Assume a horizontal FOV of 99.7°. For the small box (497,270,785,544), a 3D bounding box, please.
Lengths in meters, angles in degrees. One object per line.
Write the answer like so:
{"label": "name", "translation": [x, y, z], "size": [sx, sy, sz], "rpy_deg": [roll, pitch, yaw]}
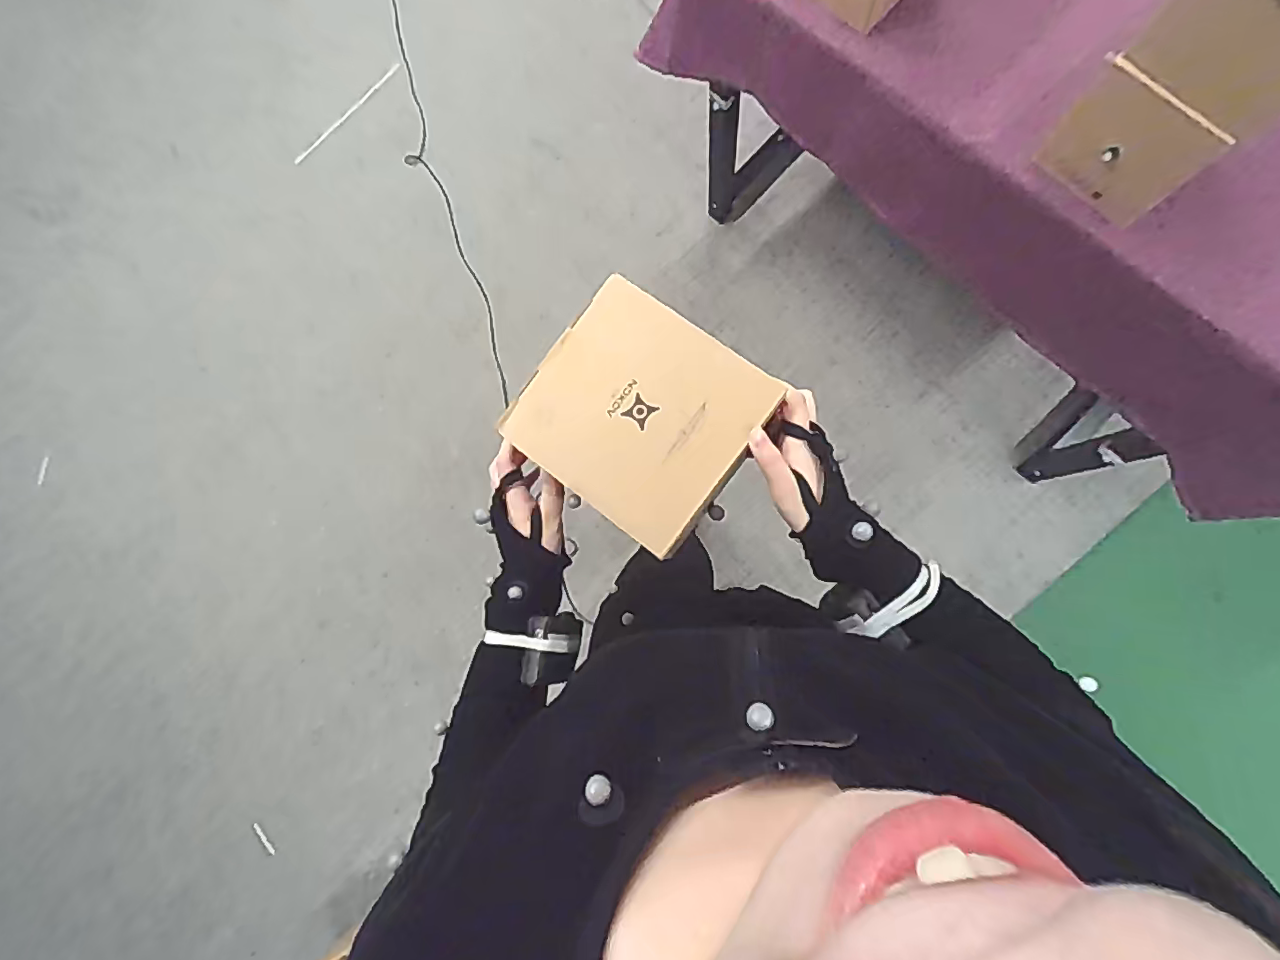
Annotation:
{"label": "small box", "translation": [0.005, -0.051, 0.509], "size": [0.179, 0.176, 0.168], "rpy_deg": [37, 88, 9]}

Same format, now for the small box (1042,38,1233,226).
{"label": "small box", "translation": [0.679, -0.478, 0.706], "size": [0.179, 0.176, 0.168], "rpy_deg": [-42, 81, 0]}

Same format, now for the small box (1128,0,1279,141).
{"label": "small box", "translation": [0.668, -0.495, 0.542], "size": [0.168, 0.176, 0.179], "rpy_deg": [-42, 81, 0]}
